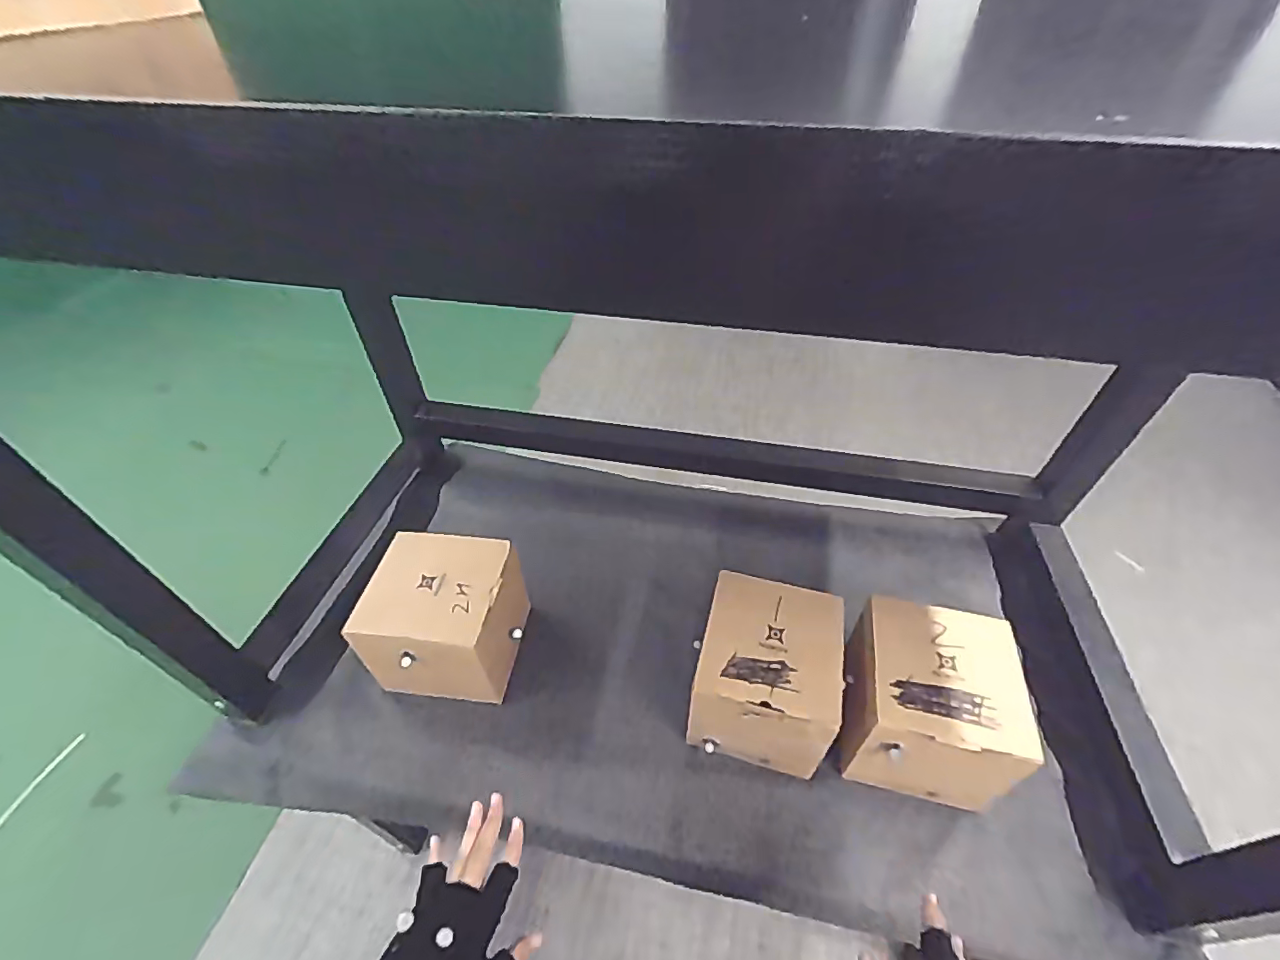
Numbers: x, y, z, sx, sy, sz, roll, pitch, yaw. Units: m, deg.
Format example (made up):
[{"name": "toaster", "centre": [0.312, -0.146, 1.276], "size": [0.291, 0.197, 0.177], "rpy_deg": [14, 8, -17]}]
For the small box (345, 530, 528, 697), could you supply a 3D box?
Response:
[{"name": "small box", "centre": [-0.276, 0.194, 0.780], "size": [0.179, 0.176, 0.168], "rpy_deg": [5, 46, 5]}]
